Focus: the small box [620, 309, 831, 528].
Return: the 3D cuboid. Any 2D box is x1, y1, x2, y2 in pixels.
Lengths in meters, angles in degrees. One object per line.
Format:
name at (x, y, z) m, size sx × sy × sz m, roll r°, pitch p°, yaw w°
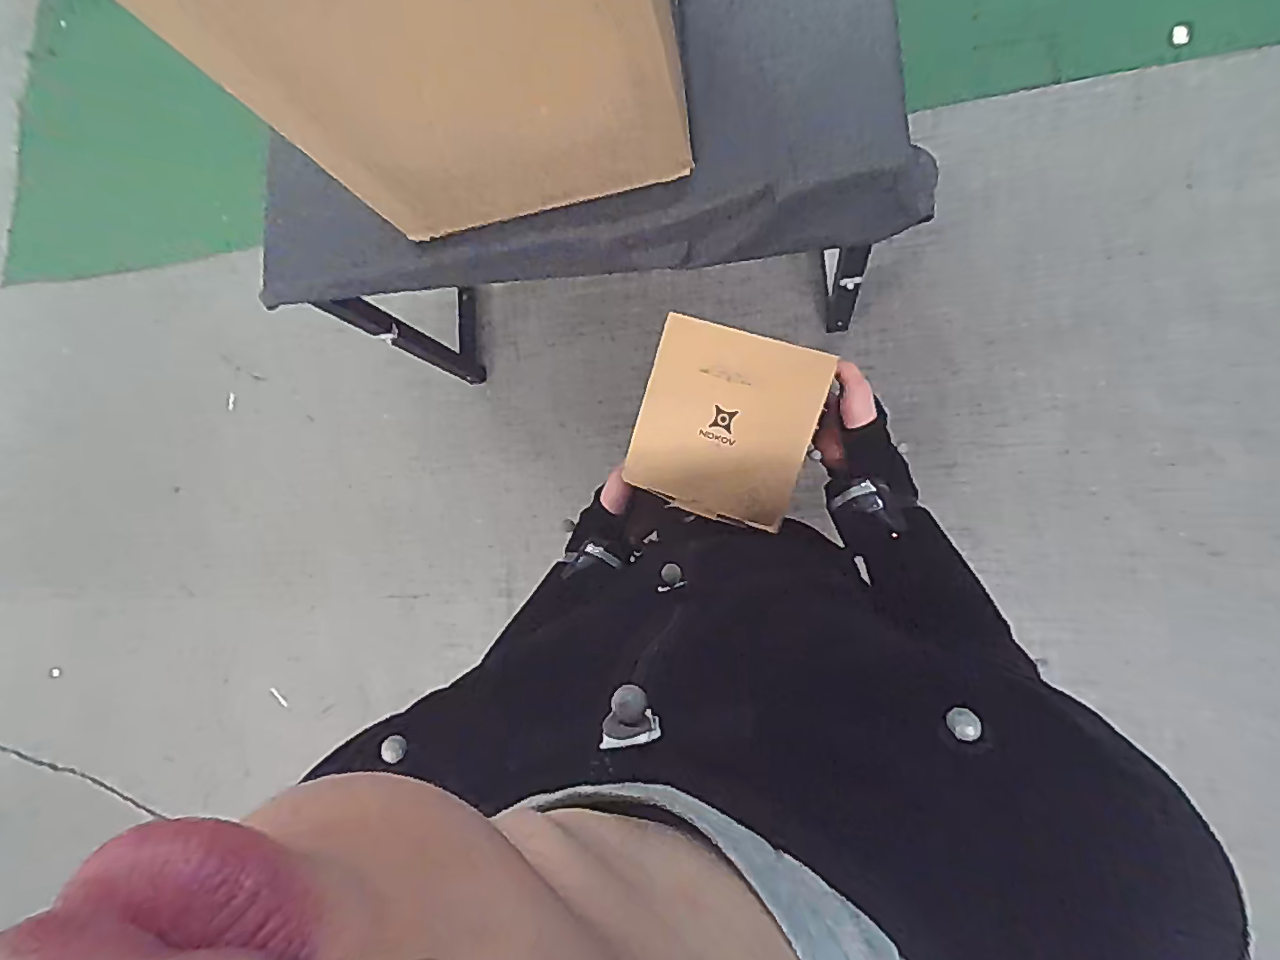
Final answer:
small box at (0.098, -0.068, 0.597) m, size 0.168 × 0.176 × 0.179 m, roll 19°, pitch 100°, yaw 13°
